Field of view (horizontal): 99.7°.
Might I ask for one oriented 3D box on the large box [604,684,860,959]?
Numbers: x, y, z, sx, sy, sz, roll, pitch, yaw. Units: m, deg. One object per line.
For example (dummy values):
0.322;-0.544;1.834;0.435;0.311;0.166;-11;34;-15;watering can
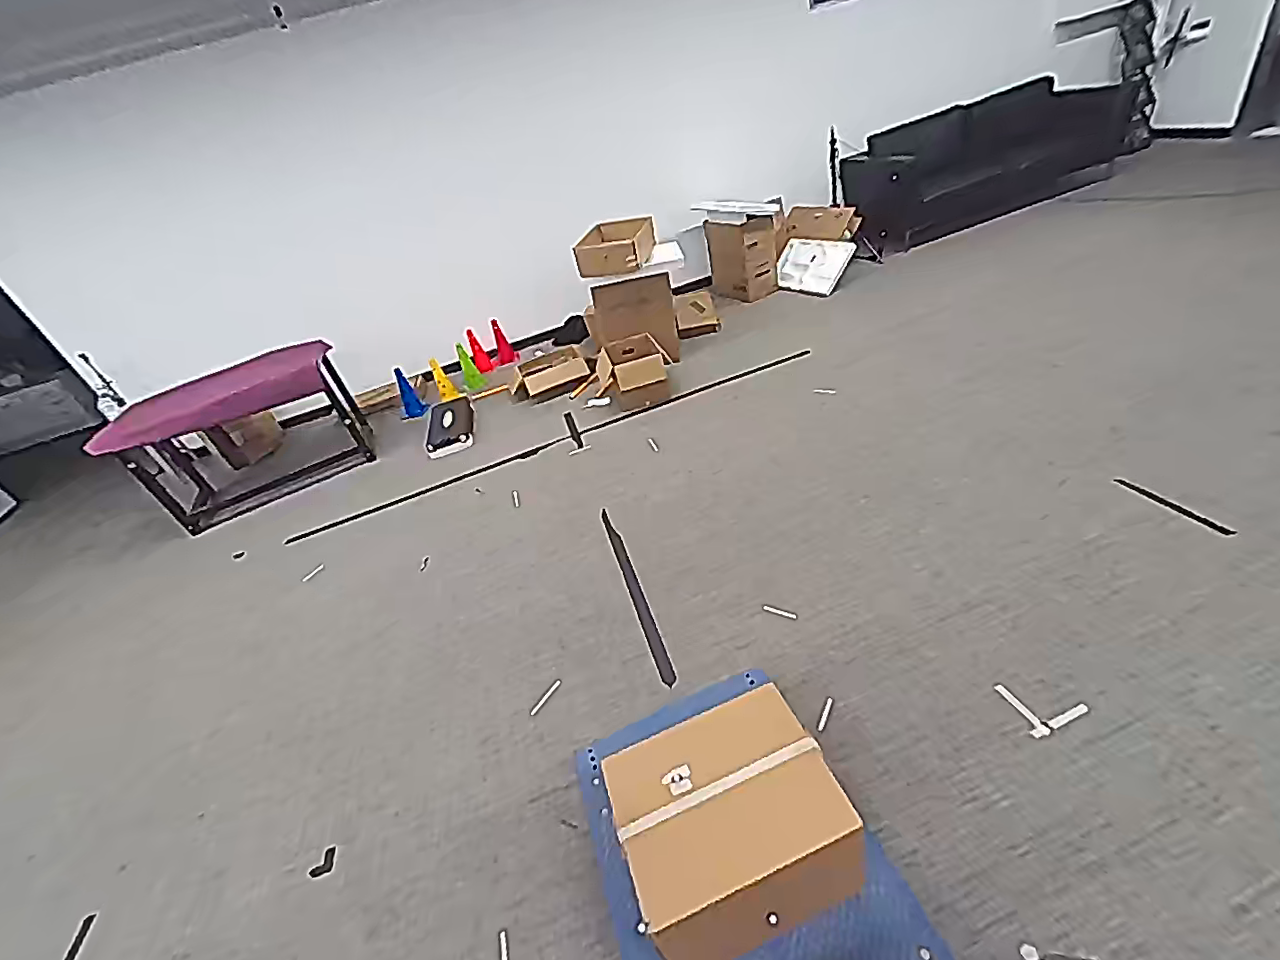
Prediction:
0.189;0.710;1.116;0.408;0.320;0.320;-22;34;-7;large box
